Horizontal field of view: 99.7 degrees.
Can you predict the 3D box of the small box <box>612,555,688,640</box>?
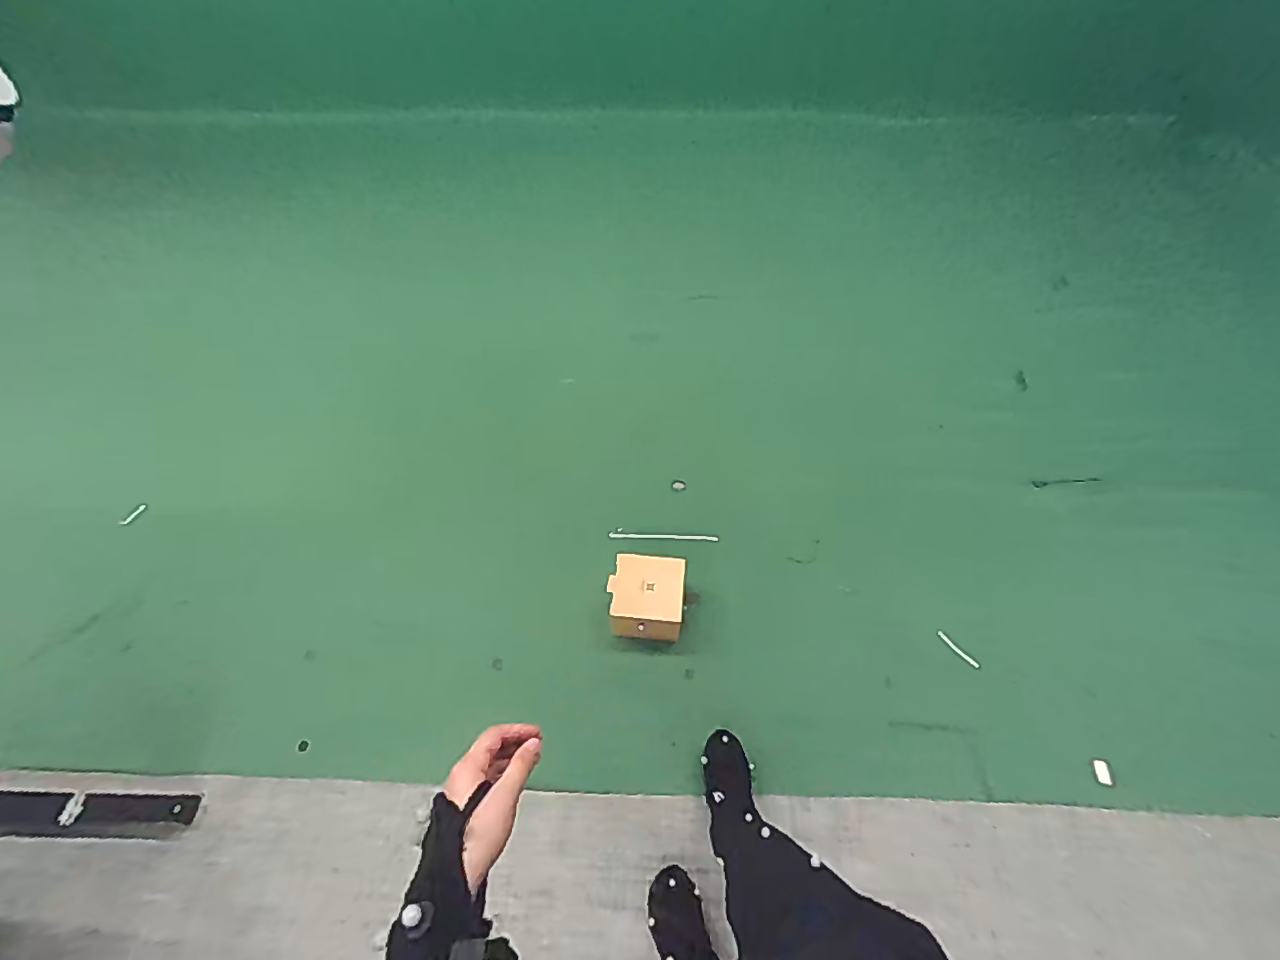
[{"bbox_3d":[0.028,0.308,1.397,0.179,0.176,0.168,4,59,4],"label":"small box"}]
